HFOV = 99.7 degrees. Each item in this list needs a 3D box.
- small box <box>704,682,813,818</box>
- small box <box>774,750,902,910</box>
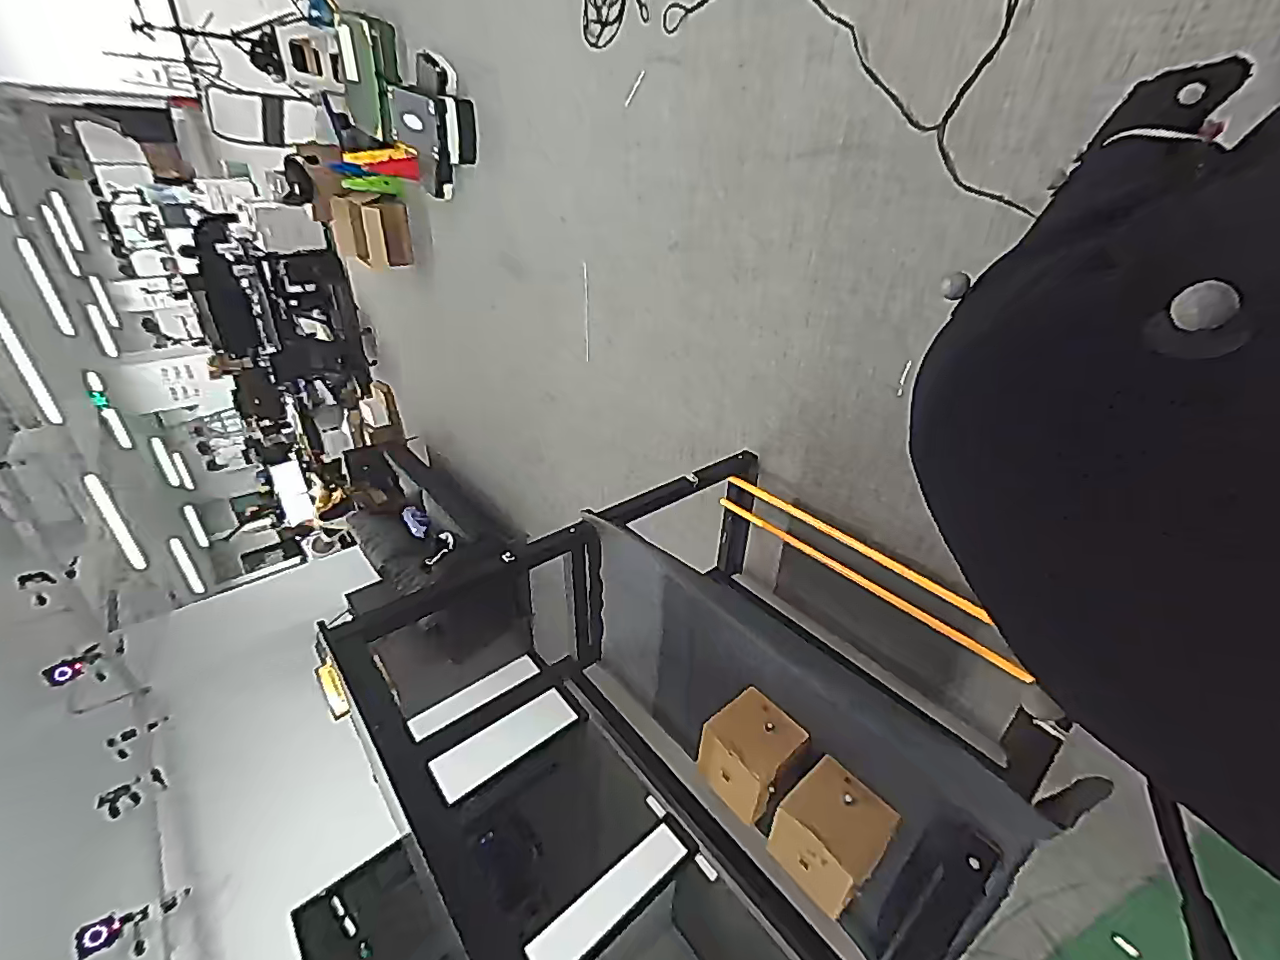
[{"bbox_3d":[0.267,0.601,1.218,0.168,0.176,0.179,32,133,40],"label":"small box"},{"bbox_3d":[0.396,0.693,1.085,0.168,0.176,0.179,32,133,40],"label":"small box"}]
